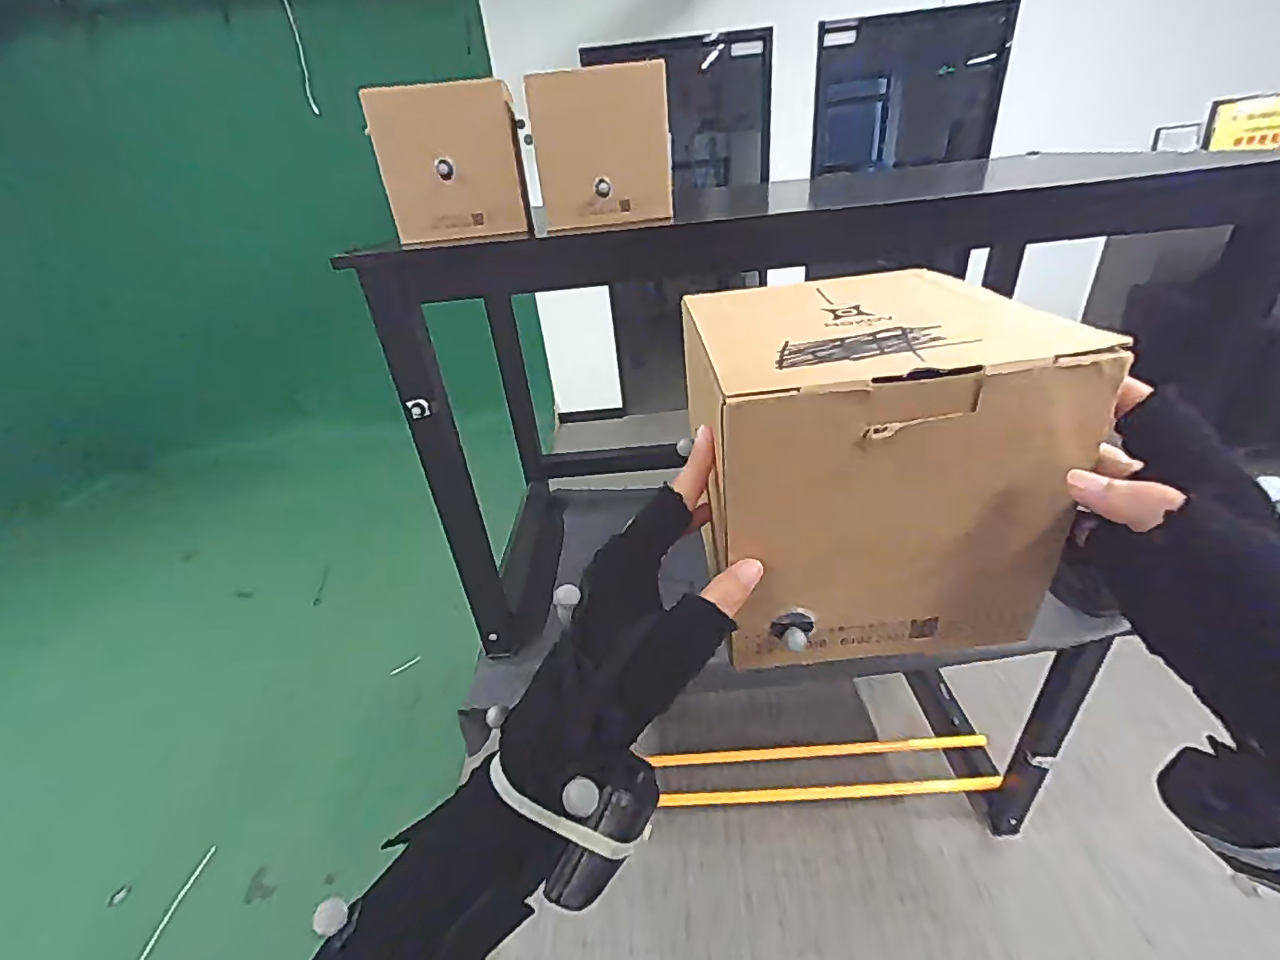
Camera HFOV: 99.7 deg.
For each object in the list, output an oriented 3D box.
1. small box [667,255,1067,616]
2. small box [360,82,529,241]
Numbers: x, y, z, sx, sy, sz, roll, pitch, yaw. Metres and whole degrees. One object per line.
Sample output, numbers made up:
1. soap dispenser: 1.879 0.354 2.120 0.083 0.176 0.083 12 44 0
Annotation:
1. small box: 0.109 -0.030 0.342 0.168 0.176 0.179 -6 30 2
2. small box: -0.254 -0.434 0.754 0.168 0.176 0.179 -7 30 -4
